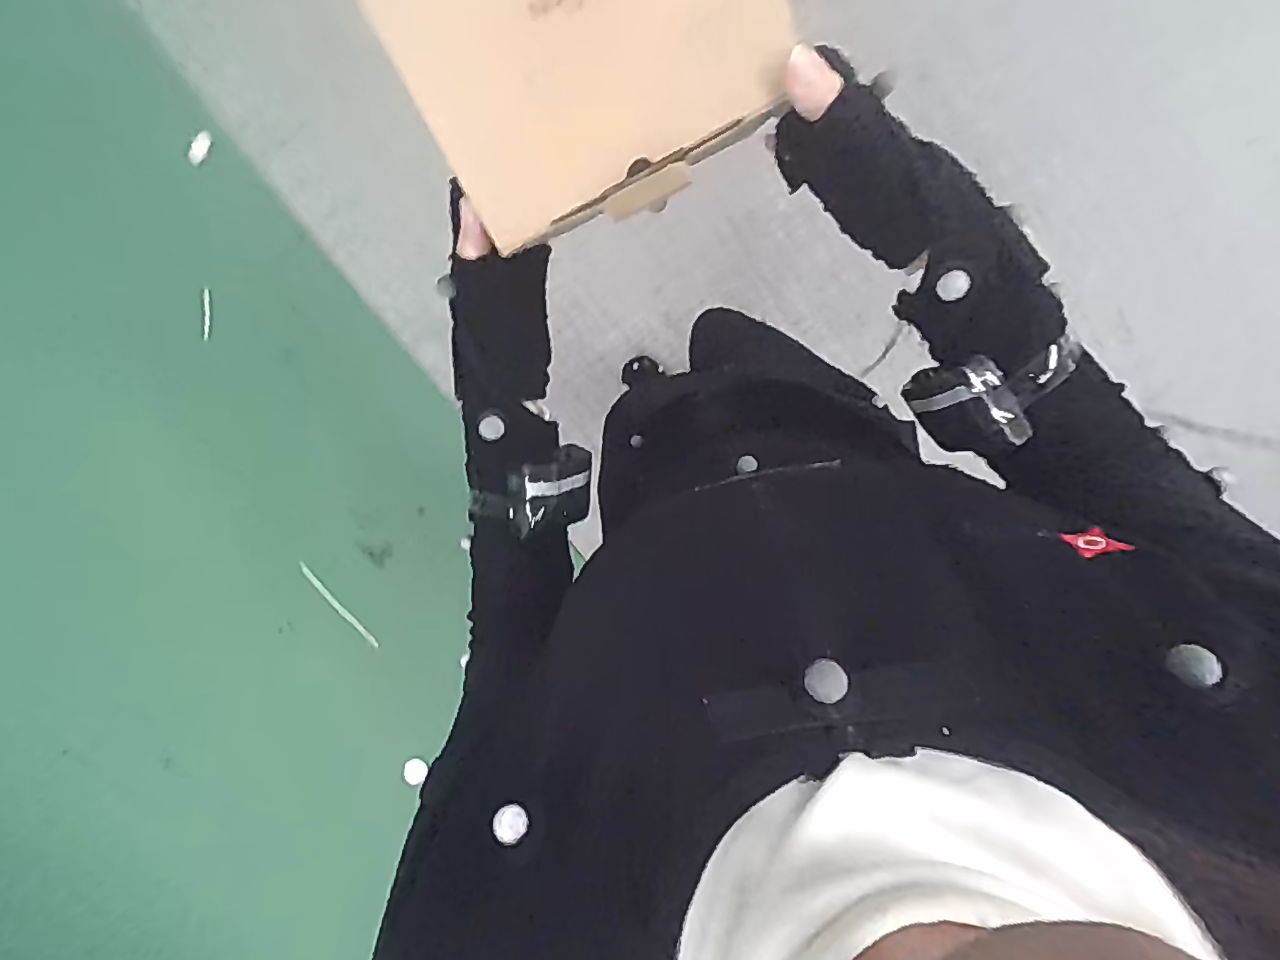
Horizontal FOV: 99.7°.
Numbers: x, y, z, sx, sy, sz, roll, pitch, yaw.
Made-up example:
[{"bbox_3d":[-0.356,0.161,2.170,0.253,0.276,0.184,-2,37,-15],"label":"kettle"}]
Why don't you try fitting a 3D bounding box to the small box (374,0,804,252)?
[{"bbox_3d":[-0.027,-0.254,0.300,0.168,0.176,0.179,-22,115,14],"label":"small box"}]
